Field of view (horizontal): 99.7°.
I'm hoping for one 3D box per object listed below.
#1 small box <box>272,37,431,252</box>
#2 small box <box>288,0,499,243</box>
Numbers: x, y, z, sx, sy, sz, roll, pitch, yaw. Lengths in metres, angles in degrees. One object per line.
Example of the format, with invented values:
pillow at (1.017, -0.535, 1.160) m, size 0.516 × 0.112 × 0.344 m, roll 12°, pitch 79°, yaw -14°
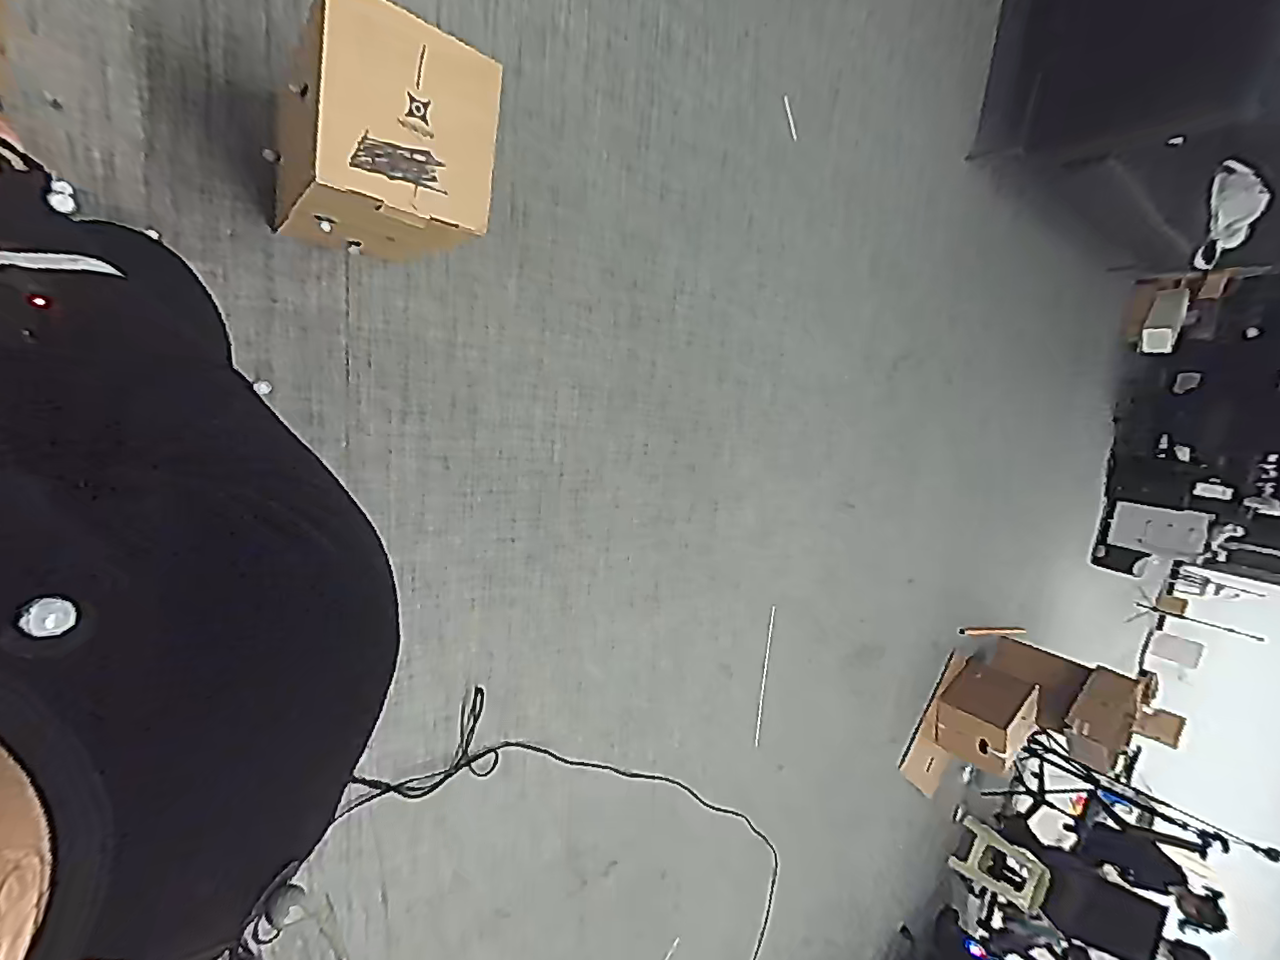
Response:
small box at (-0.372, -0.411, 0.707) m, size 0.168 × 0.176 × 0.179 m, roll 0°, pitch 102°, yaw -40°
small box at (-0.270, -0.373, 0.582) m, size 0.168 × 0.176 × 0.179 m, roll 1°, pitch 100°, yaw -40°
